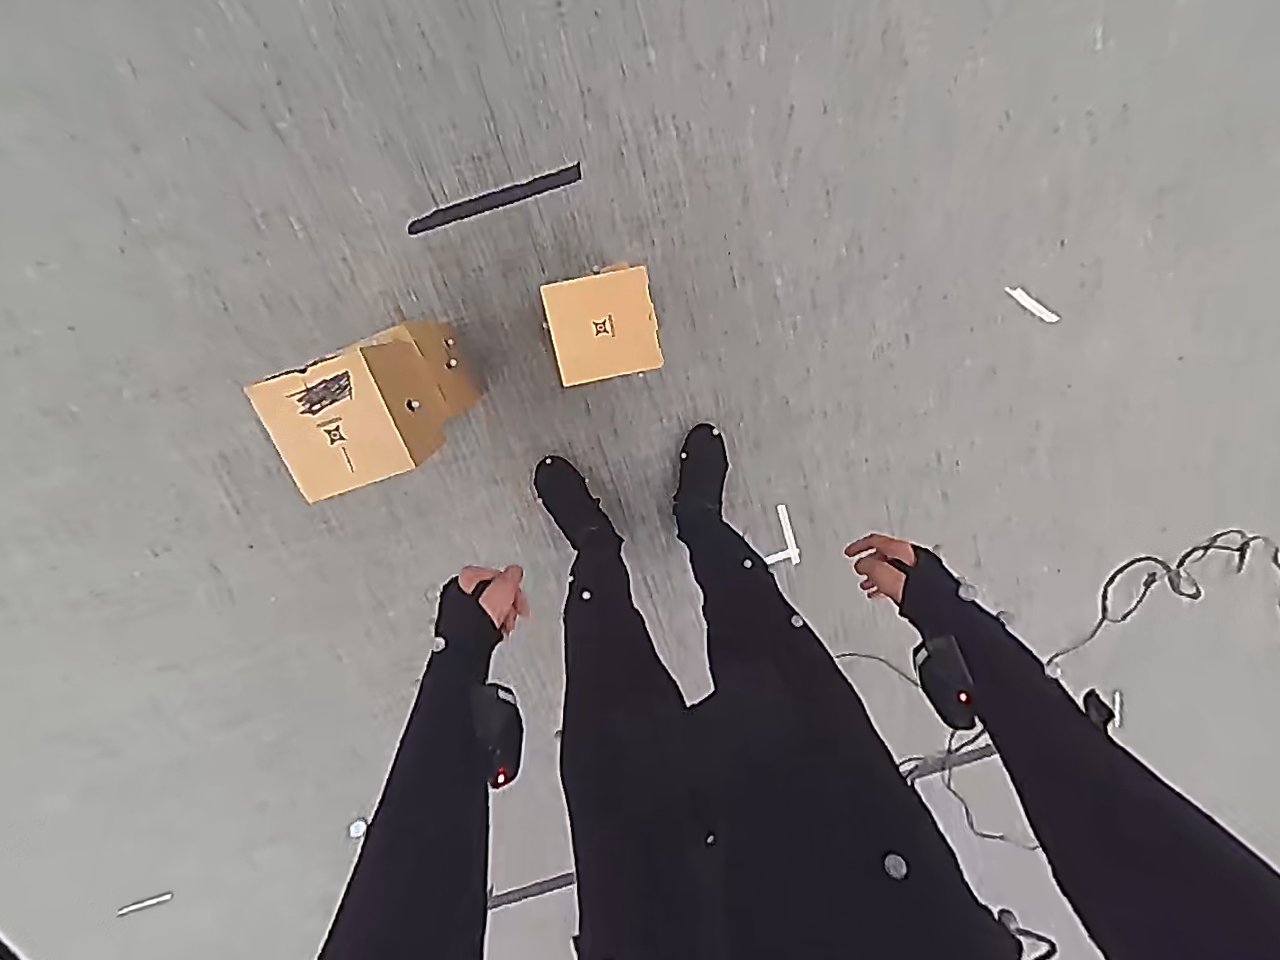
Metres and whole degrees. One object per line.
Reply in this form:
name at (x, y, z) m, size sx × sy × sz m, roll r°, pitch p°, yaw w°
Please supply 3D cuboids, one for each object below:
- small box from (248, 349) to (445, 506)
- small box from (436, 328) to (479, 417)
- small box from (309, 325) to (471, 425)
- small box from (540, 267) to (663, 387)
small box at (-0.418, -0.088, 0.804) m, size 0.168 × 0.176 × 0.179 m, roll -18°, pitch 109°, yaw 2°
small box at (-0.452, -0.204, 1.110) m, size 0.168 × 0.176 × 0.179 m, roll -21°, pitch 108°, yaw 1°
small box at (-0.425, -0.164, 0.953) m, size 0.179 × 0.176 × 0.168 m, roll -22°, pitch 108°, yaw 2°
small box at (-0.067, -0.269, 0.957) m, size 0.179 × 0.176 × 0.168 m, roll -13°, pitch 108°, yaw -2°
